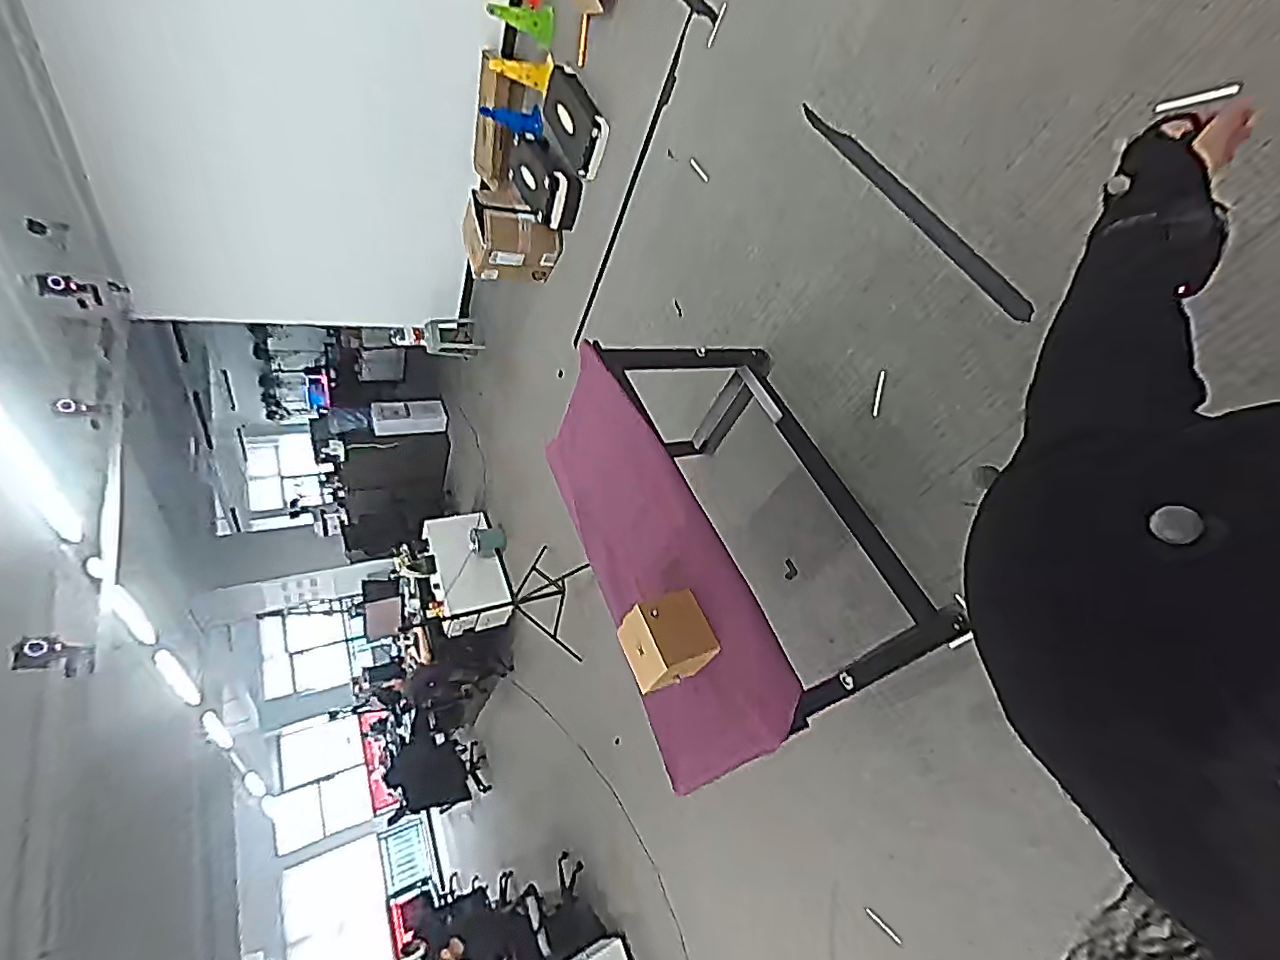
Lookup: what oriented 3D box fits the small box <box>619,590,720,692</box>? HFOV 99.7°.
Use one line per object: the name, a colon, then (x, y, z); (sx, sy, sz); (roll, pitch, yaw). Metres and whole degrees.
small box: (0.074, 0.405, 1.374); (0.179, 0.176, 0.168); (62, 143, 30)
